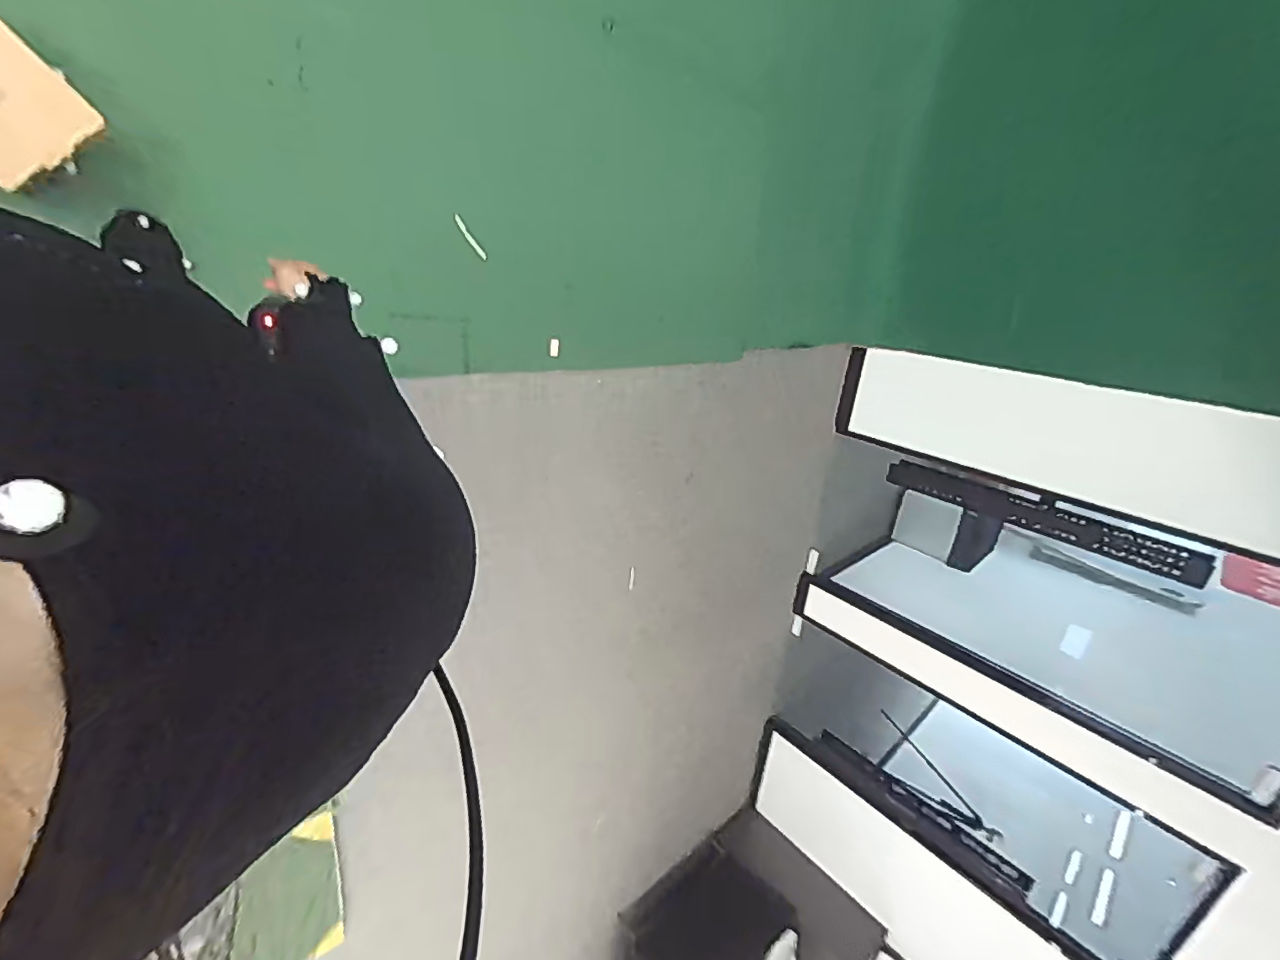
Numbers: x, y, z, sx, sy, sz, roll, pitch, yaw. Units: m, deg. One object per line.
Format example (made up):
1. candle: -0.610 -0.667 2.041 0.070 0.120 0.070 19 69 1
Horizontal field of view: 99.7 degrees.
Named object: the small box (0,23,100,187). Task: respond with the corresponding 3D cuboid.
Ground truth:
1. small box: -0.919 -0.542 0.755 0.168 0.176 0.179 -50 138 -14
